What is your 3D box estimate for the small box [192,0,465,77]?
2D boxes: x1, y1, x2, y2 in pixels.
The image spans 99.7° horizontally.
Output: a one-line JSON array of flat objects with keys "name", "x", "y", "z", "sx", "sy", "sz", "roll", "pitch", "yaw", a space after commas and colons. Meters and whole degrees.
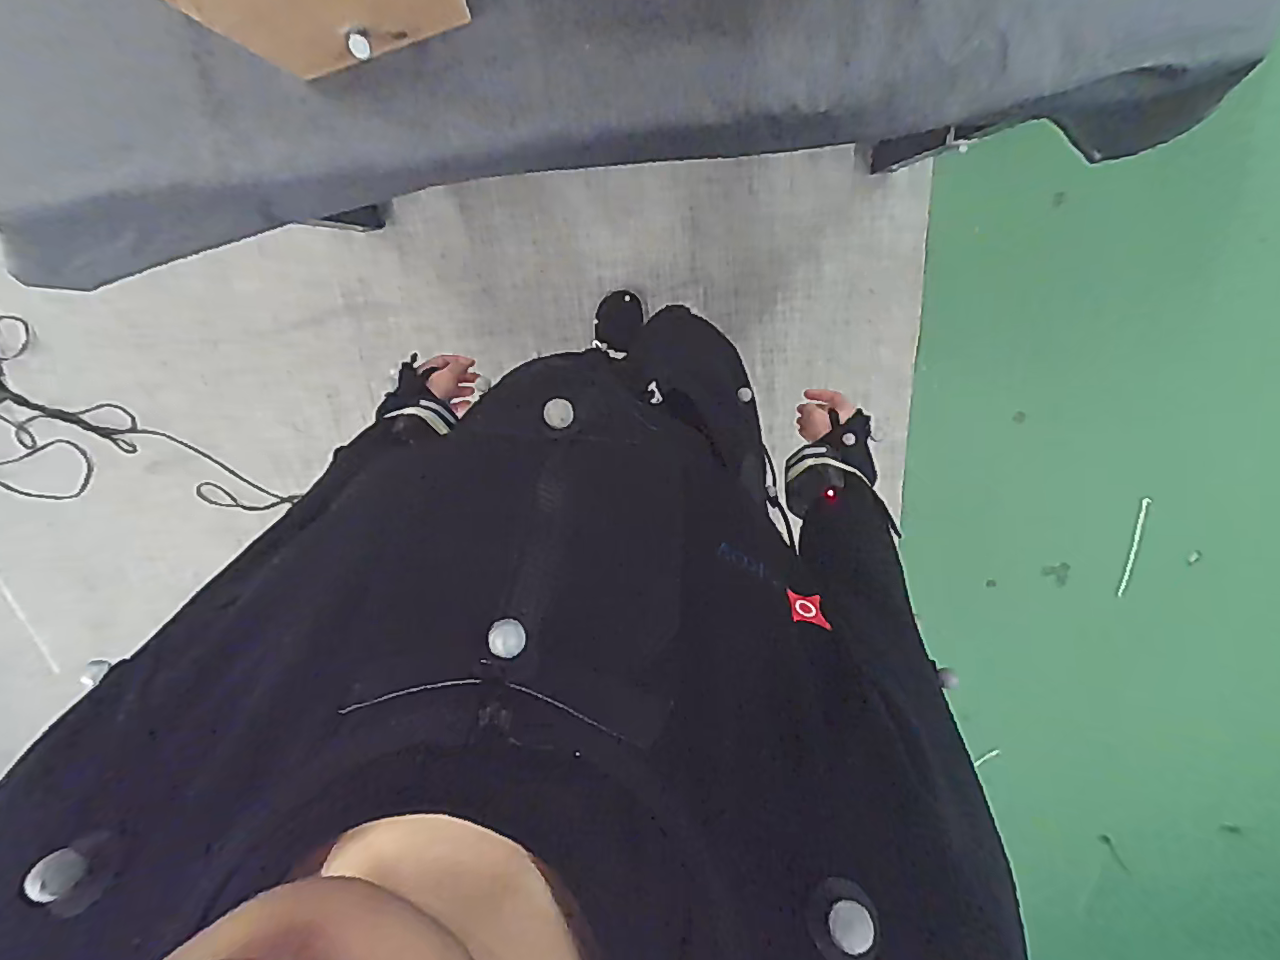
[{"name": "small box", "x": -0.248, "y": -0.429, "z": 0.377, "sx": 0.168, "sy": 0.176, "sz": 0.179, "roll": -15, "pitch": 112, "yaw": 5}]
